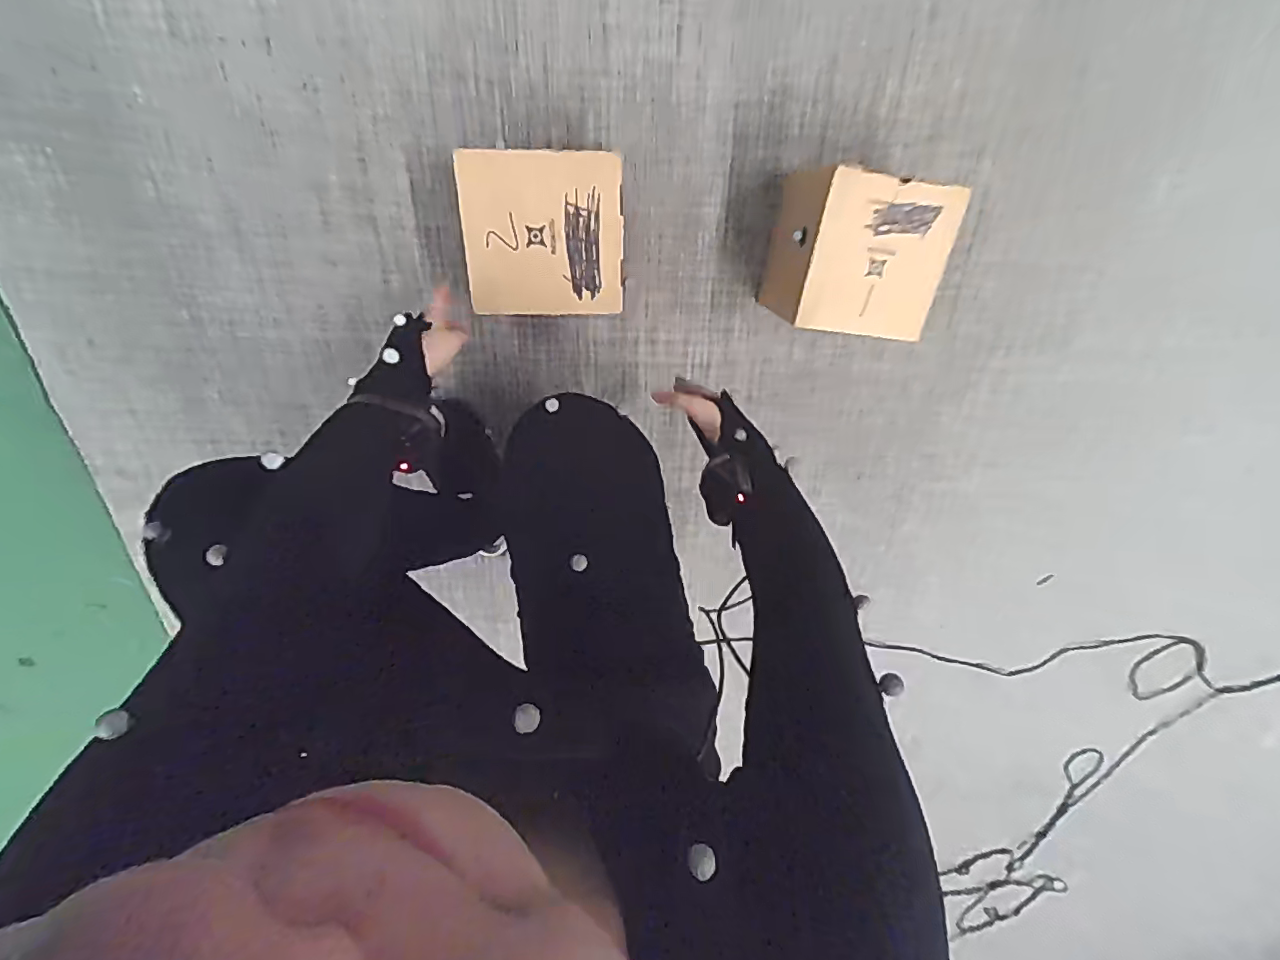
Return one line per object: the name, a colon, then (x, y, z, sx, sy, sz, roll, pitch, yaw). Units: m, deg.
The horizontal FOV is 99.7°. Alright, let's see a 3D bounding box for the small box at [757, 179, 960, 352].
small box: (0.269, -0.284, 0.715, 0.168, 0.176, 0.179, 5, 117, -8)
